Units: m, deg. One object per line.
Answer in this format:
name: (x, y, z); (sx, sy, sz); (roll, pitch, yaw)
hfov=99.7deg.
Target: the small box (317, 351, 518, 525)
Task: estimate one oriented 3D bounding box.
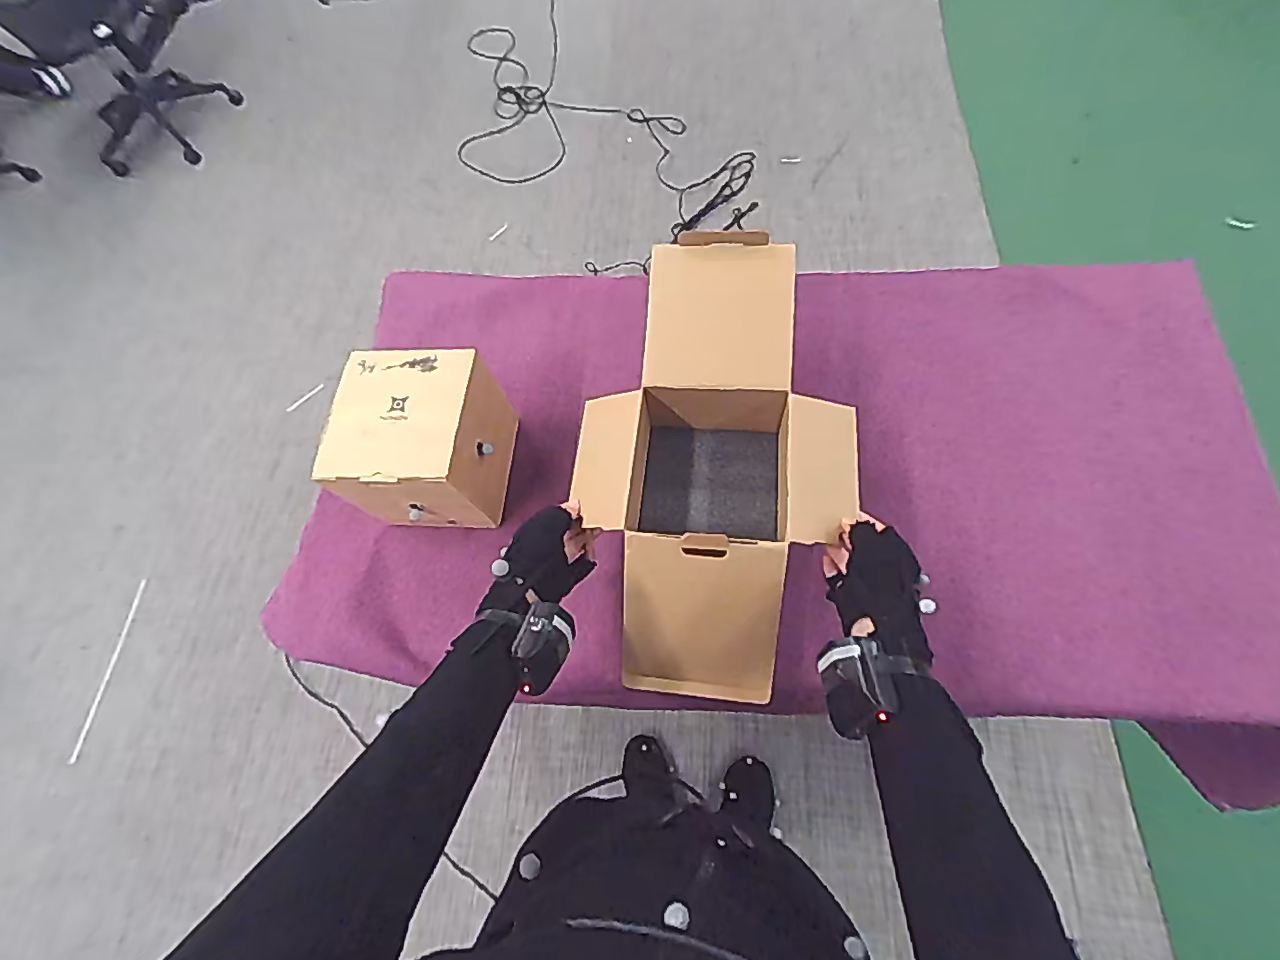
small box: (-0.270, -0.046, 0.704); (0.168, 0.176, 0.179); (1, 67, 7)
